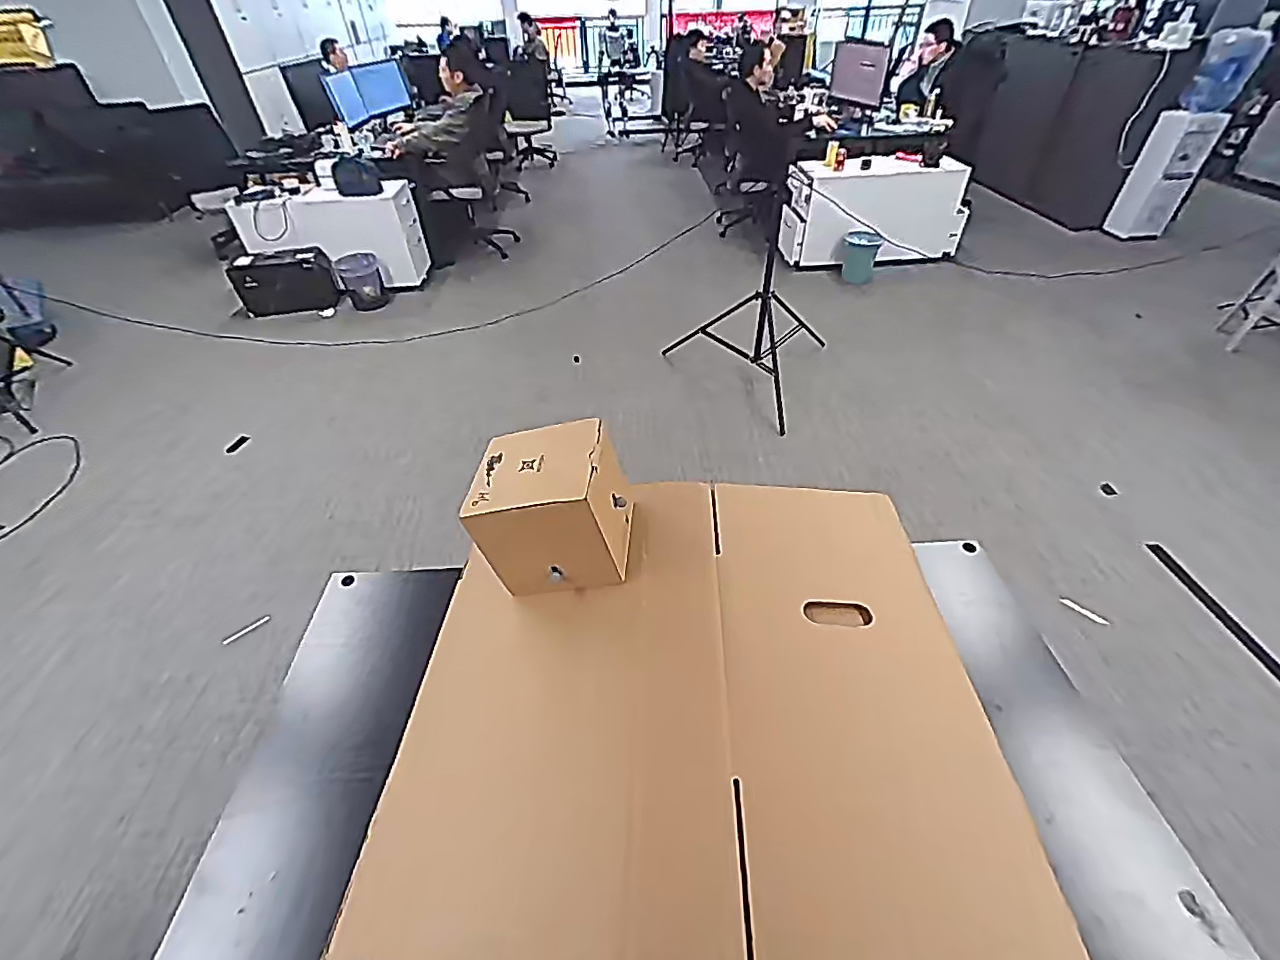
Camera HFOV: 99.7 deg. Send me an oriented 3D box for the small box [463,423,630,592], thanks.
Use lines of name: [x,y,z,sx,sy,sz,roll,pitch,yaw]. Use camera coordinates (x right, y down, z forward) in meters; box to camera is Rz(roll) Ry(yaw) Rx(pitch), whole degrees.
small box: [-0.119,0.043,0.780,0.179,0.176,0.168,-8,40,12]
